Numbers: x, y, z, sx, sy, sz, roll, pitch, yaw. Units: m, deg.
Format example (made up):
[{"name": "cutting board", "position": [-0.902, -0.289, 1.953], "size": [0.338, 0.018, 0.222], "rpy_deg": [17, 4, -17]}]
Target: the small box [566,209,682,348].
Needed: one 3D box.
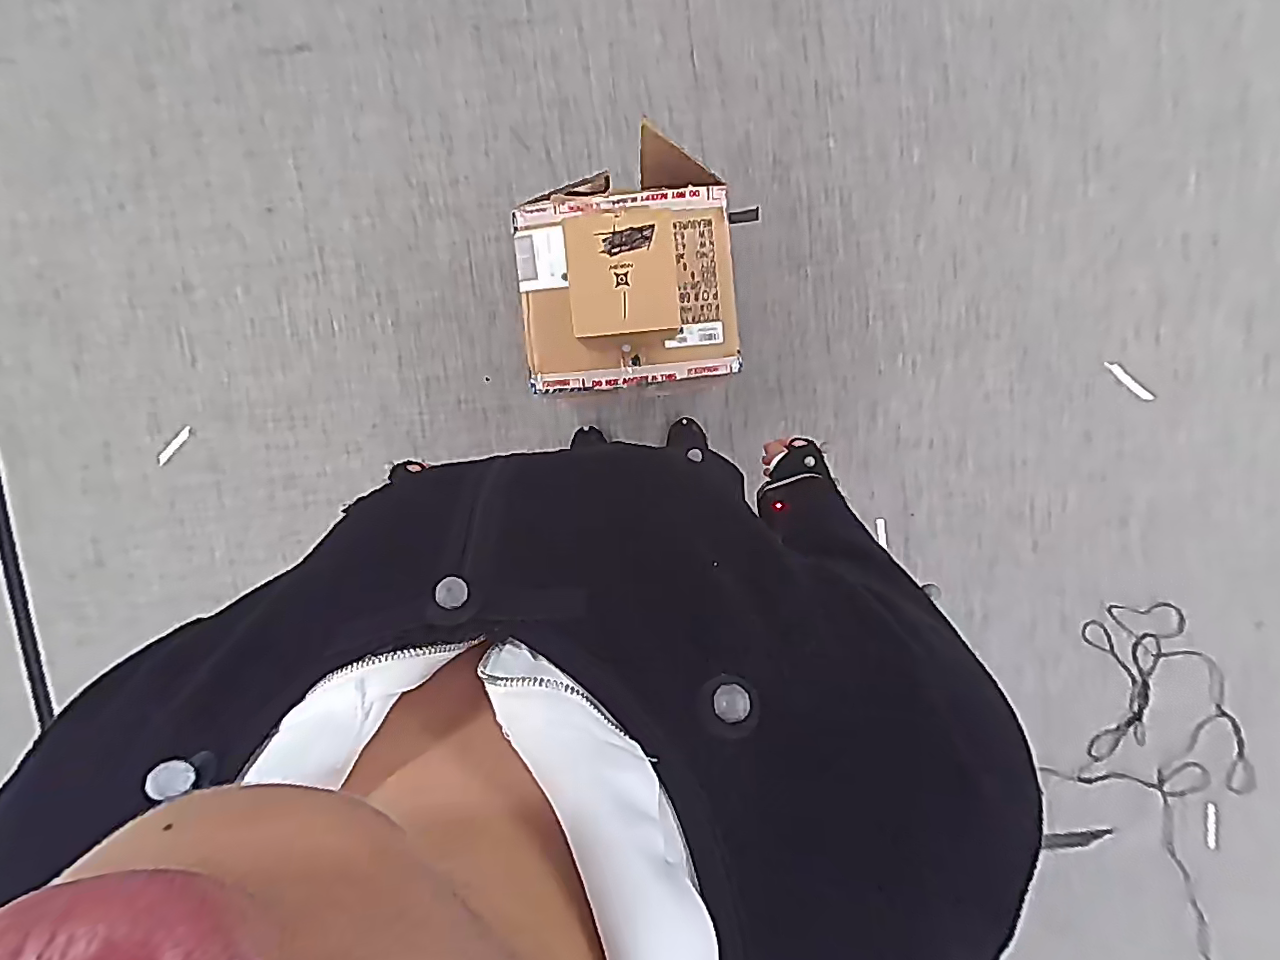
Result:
[{"name": "small box", "position": [-0.024, -0.321, 0.890], "size": [0.168, 0.176, 0.179], "rpy_deg": [-5, 99, 1]}]
